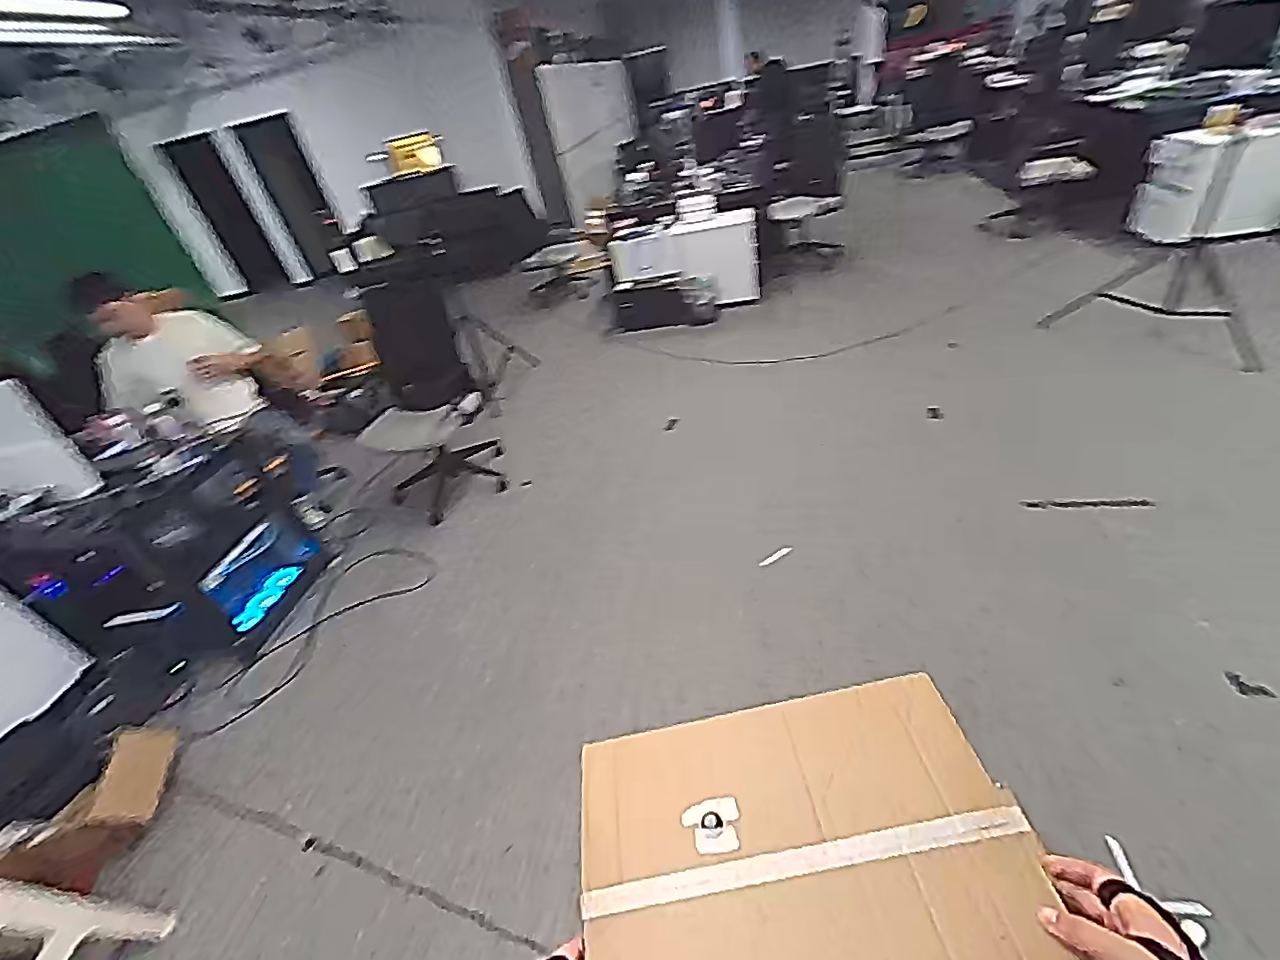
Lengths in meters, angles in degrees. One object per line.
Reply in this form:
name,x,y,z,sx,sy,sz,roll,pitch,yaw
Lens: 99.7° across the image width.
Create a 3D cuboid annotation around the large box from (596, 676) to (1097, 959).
large box,0.191,0.474,0.595,0.408,0.320,0.320,-15,36,6
